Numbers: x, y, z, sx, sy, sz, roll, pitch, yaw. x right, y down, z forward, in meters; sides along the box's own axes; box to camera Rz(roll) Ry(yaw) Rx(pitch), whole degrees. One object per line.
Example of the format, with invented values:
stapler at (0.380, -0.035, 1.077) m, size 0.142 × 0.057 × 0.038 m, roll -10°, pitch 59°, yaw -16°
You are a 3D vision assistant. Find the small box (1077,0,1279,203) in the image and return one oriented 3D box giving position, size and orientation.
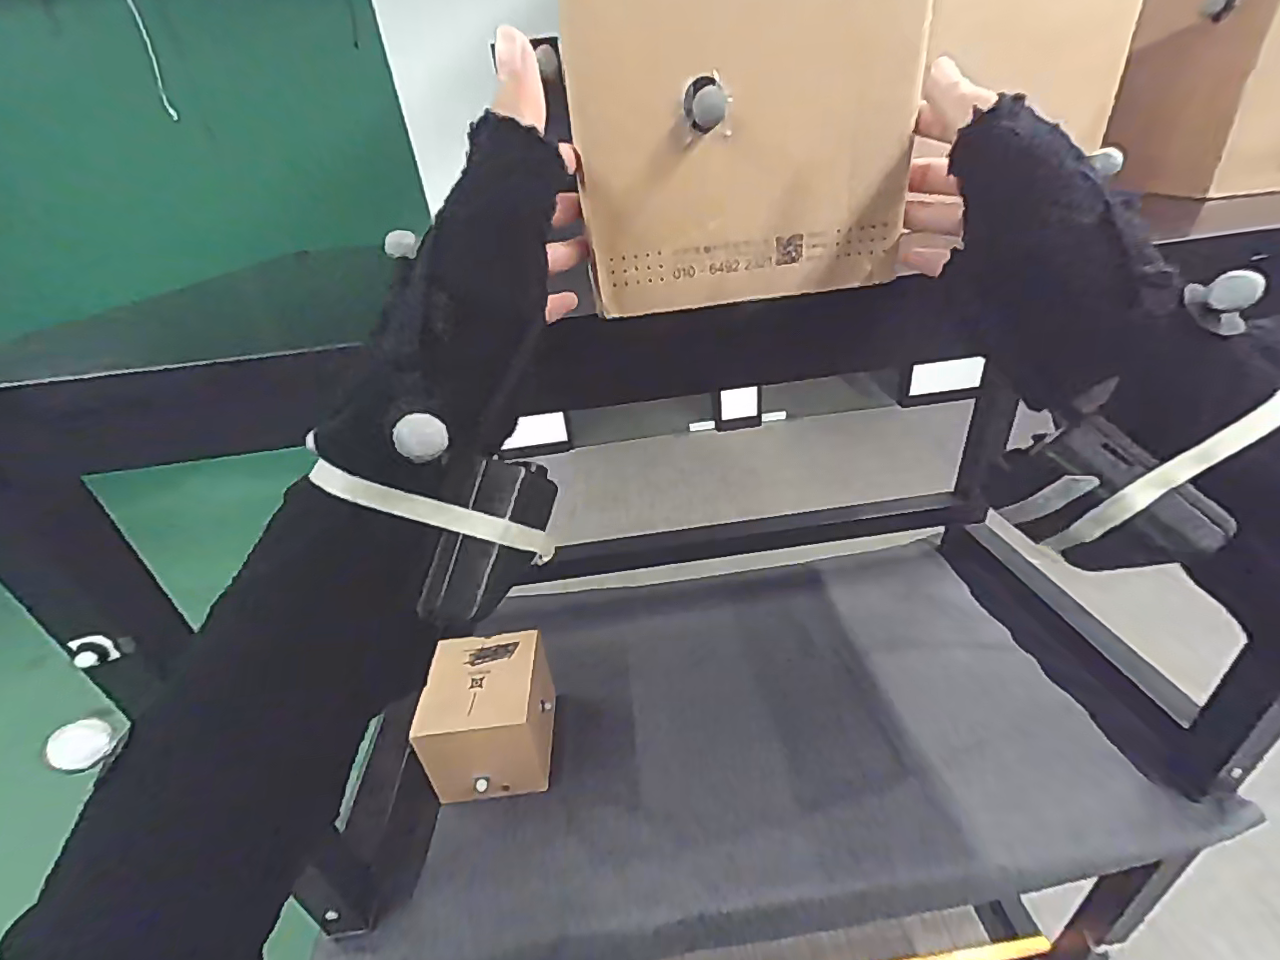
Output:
small box at (0.510, -0.327, 0.438) m, size 0.168 × 0.176 × 0.179 m, roll -2°, pitch 31°, yaw 8°

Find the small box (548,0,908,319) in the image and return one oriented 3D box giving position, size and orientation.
small box at (0.041, -0.202, 0.328) m, size 0.168 × 0.176 × 0.179 m, roll -8°, pitch 30°, yaw -3°

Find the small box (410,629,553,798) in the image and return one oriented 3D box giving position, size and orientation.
small box at (-0.235, 0.365, 0.856) m, size 0.168 × 0.176 × 0.179 m, roll -7°, pitch 31°, yaw -1°
